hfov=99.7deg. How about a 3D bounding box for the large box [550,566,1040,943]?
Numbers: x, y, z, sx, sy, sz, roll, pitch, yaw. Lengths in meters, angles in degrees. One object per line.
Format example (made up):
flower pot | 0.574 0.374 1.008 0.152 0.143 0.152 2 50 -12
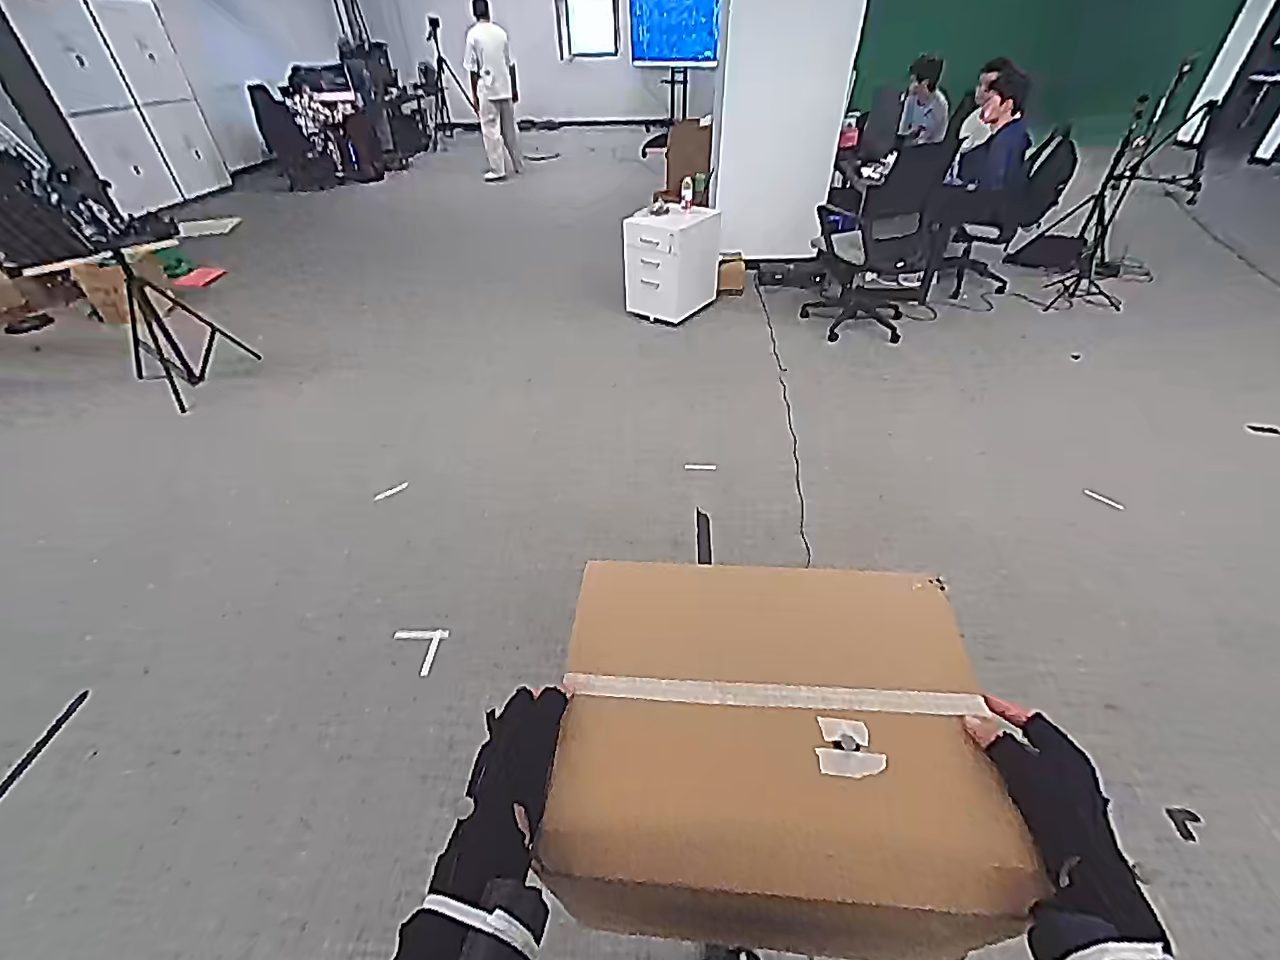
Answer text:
large box | 0.136 0.323 0.648 0.408 0.320 0.320 1 45 6
